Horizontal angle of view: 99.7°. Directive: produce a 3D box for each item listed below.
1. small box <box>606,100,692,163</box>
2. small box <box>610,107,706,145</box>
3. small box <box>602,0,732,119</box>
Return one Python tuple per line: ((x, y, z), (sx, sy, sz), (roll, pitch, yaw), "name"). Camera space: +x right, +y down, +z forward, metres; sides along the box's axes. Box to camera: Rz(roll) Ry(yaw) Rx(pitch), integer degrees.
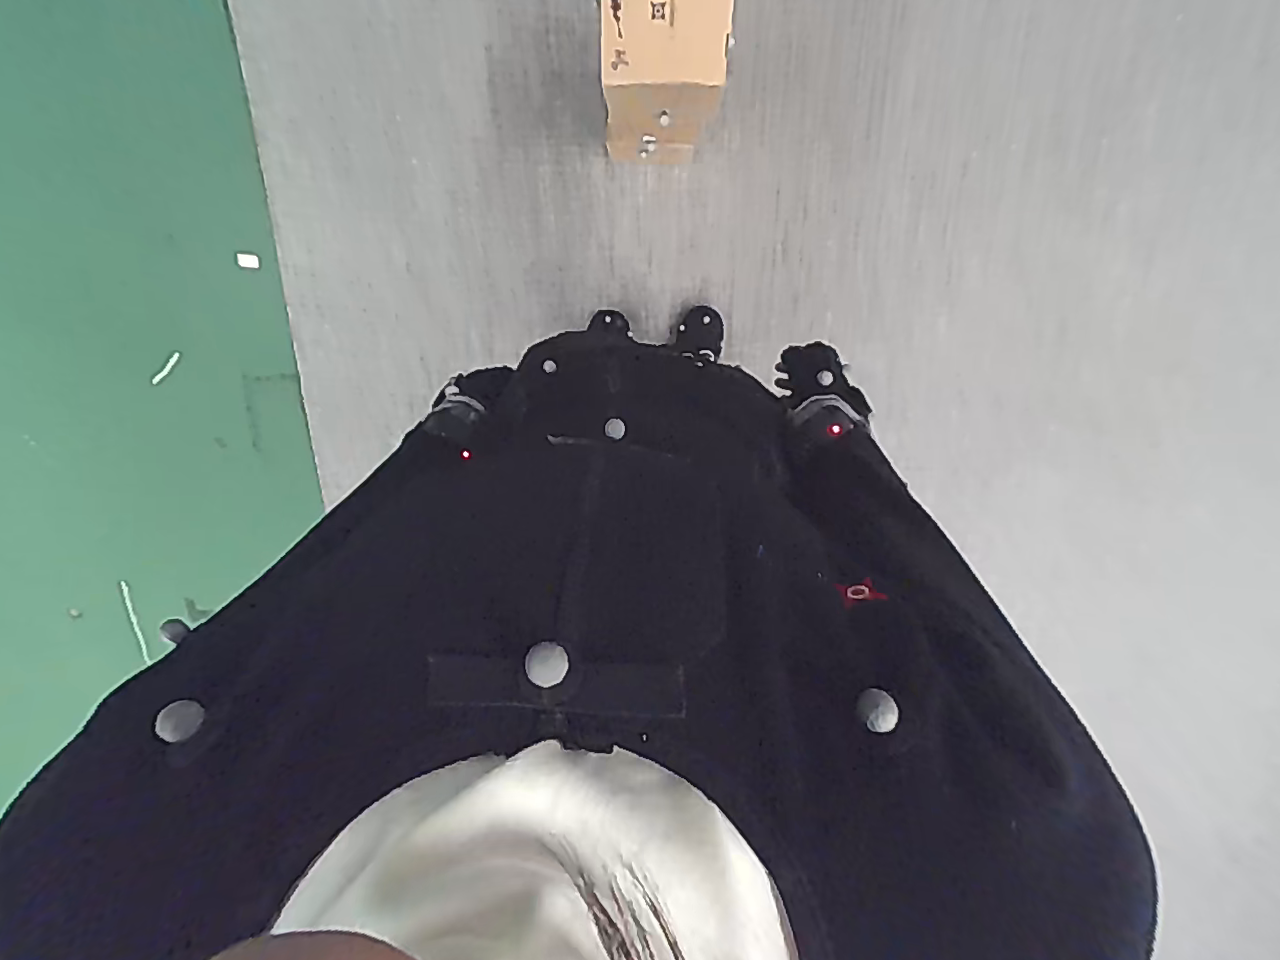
((0.027, -0.766, 1.112), (0.179, 0.176, 0.168), (3, 110, 0), "small box")
((0.036, -0.717, 0.958), (0.168, 0.176, 0.179), (2, 110, 3), "small box")
((0.038, -0.658, 0.805), (0.179, 0.176, 0.168), (2, 109, 2), "small box")
